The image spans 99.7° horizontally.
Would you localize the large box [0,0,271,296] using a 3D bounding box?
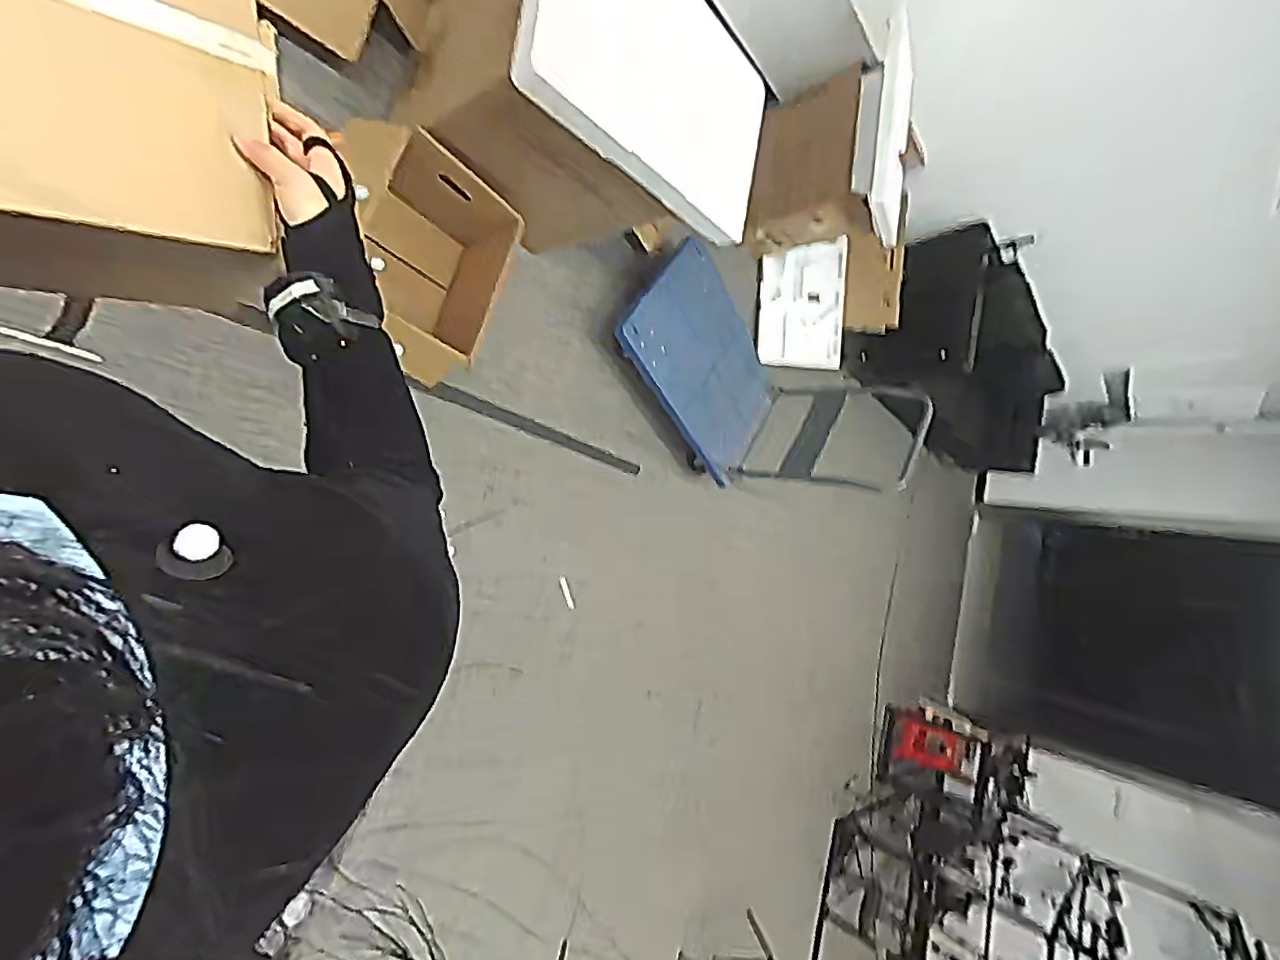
[{"bbox_3d":[-0.575,-0.347,0.434,0.408,0.320,0.320,-8,99,-42],"label":"large box"}]
